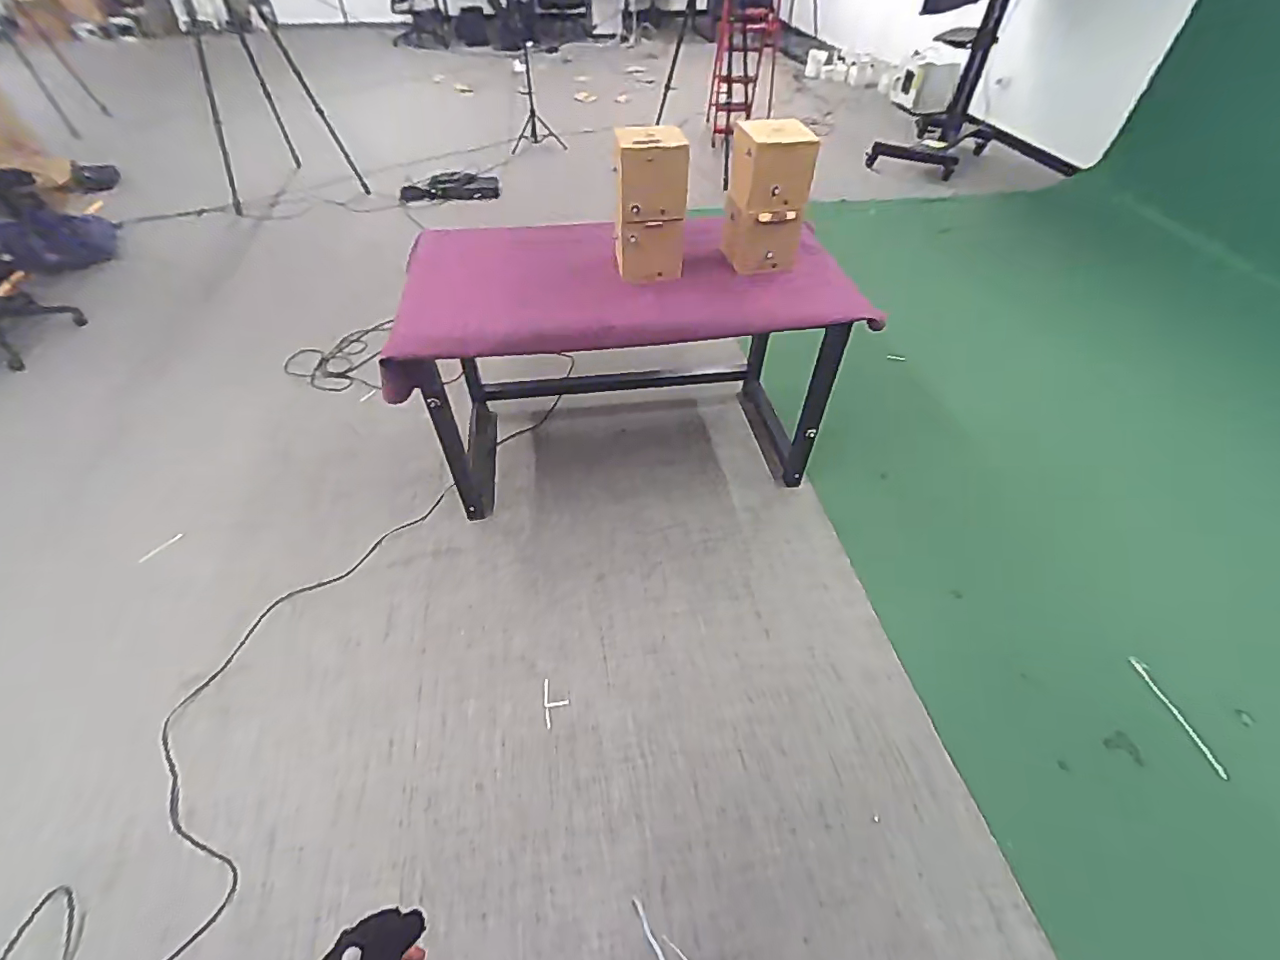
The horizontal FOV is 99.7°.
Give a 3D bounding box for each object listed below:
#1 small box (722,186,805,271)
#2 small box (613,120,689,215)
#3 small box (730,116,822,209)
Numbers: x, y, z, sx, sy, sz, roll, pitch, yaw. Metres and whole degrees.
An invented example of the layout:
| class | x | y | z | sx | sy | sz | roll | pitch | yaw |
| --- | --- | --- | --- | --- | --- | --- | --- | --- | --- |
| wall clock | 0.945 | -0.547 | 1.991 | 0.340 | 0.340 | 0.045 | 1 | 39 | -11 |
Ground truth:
| class | x | y | z | sx | sy | sz | roll | pitch | yaw |
| --- | --- | --- | --- | --- | --- | --- | --- | --- | --- |
| small box | 0.339 | -0.713 | 1.525 | 0.168 | 0.176 | 0.179 | -9 | 49 | -7 |
| small box | 0.025 | -0.782 | 1.360 | 0.168 | 0.176 | 0.179 | -6 | 47 | -6 |
| small box | 0.343 | -0.825 | 1.406 | 0.168 | 0.176 | 0.179 | -8 | 50 | -8 |
